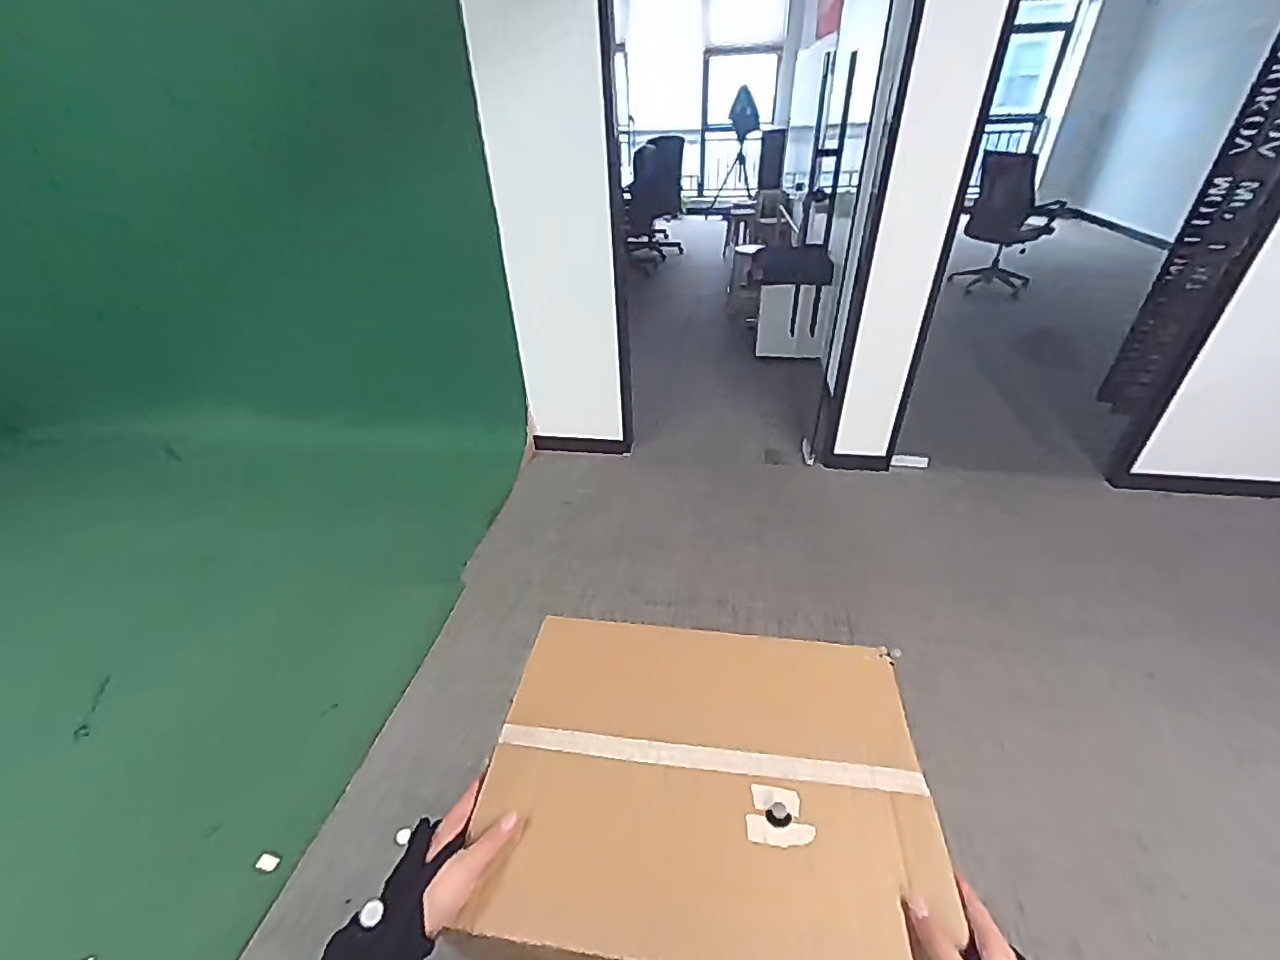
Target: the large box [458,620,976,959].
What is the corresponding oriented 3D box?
[{"bbox_3d":[0.067,0.392,0.611,0.408,0.320,0.320,4,35,7],"label":"large box"}]
